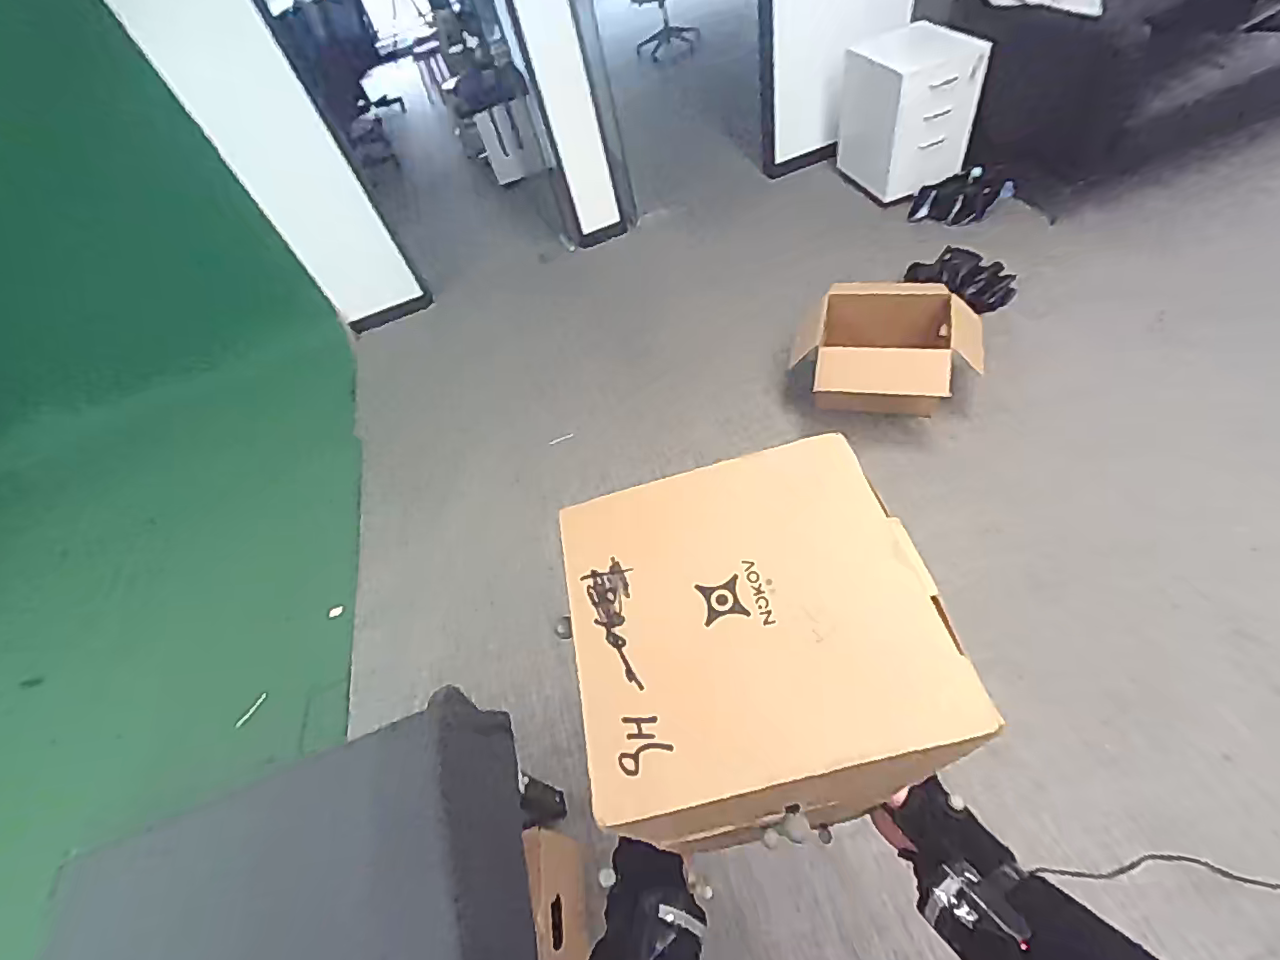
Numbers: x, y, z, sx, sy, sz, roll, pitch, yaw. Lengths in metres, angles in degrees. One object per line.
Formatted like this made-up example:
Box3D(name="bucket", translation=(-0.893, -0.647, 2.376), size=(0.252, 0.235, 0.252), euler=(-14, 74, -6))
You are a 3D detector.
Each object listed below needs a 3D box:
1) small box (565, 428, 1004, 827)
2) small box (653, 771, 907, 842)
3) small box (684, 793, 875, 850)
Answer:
Box3D(name="small box", translation=(0.065, 0.098, 0.331), size=(0.179, 0.176, 0.168), euler=(-14, 53, 2))
Box3D(name="small box", translation=(0.093, 0.194, 0.461), size=(0.179, 0.176, 0.168), euler=(-14, 53, 2))
Box3D(name="small box", translation=(0.127, 0.289, 0.590), size=(0.179, 0.176, 0.168), euler=(-16, 52, 4))
